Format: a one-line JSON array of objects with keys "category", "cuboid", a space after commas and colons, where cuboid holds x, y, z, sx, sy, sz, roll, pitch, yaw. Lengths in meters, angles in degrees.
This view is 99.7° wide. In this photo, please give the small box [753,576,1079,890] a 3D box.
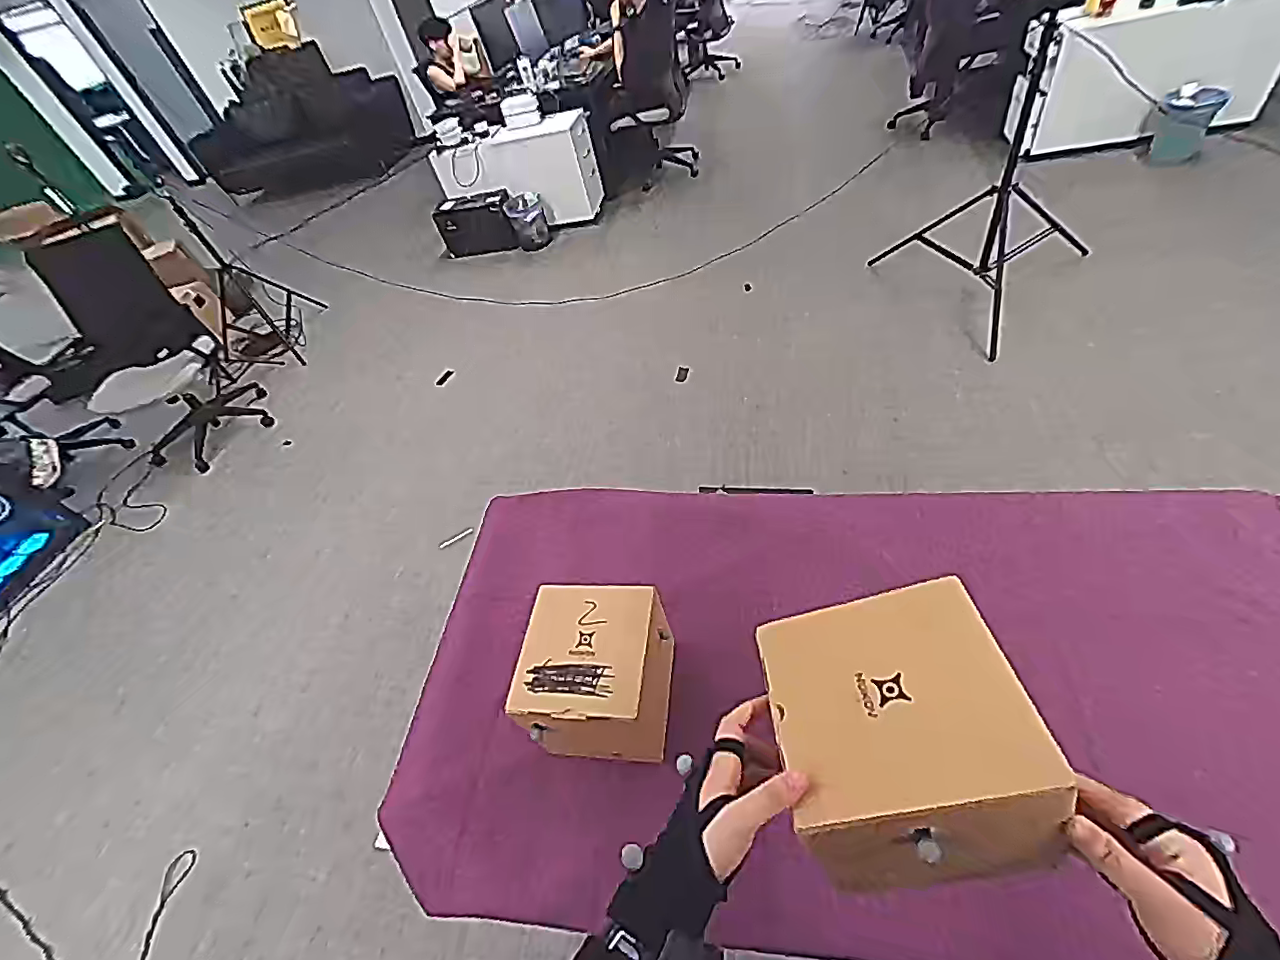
[{"category": "small box", "cuboid": [0.214, 0.213, 0.450, 0.179, 0.176, 0.168, -21, 37, 14]}]
